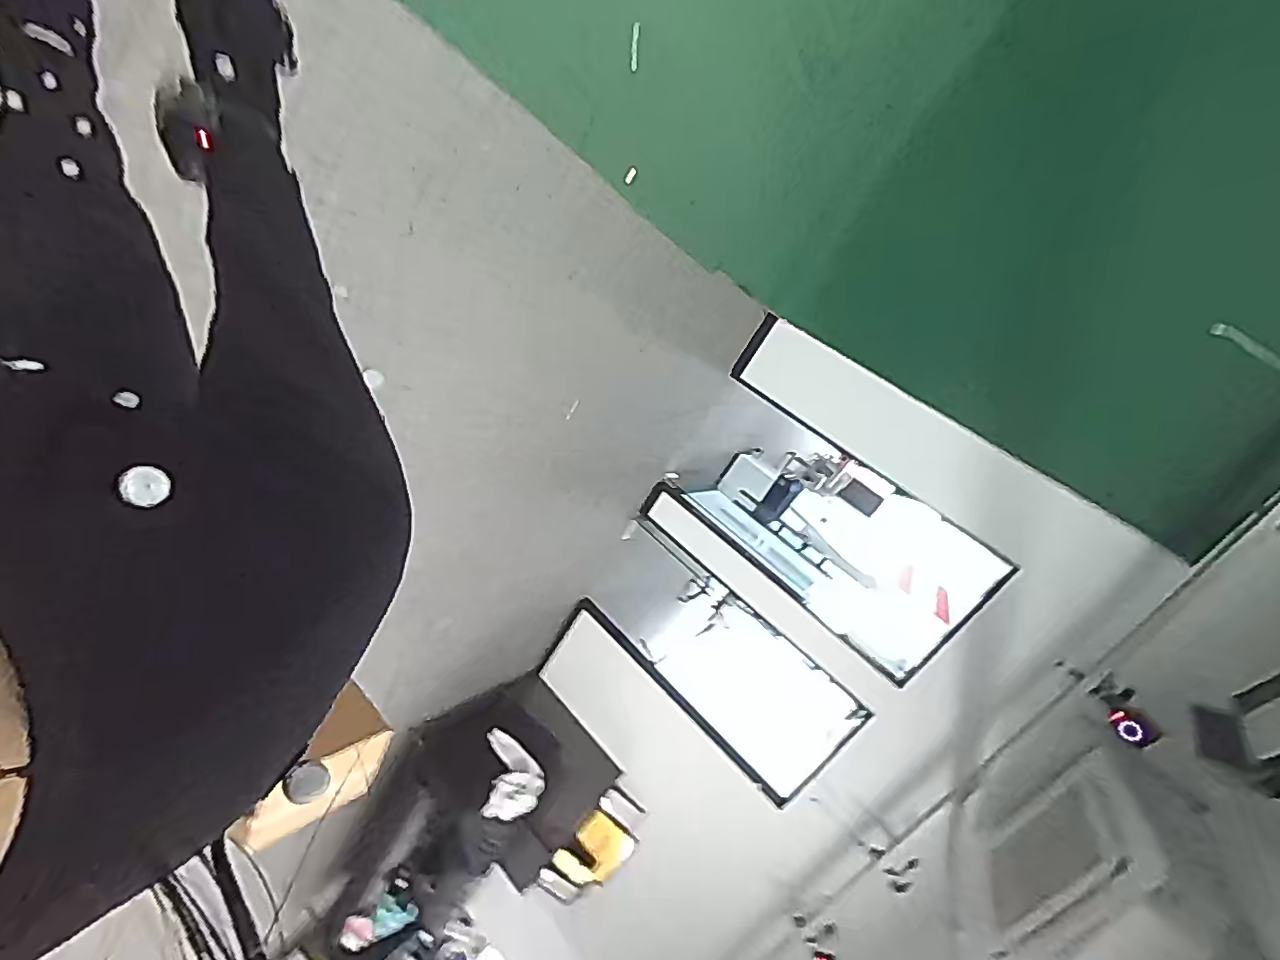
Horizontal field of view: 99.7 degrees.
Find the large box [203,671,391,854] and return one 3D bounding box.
[{"bbox_3d":[-1.140,0.911,1.810,0.408,0.320,0.320,-2,124,-61],"label":"large box"}]
